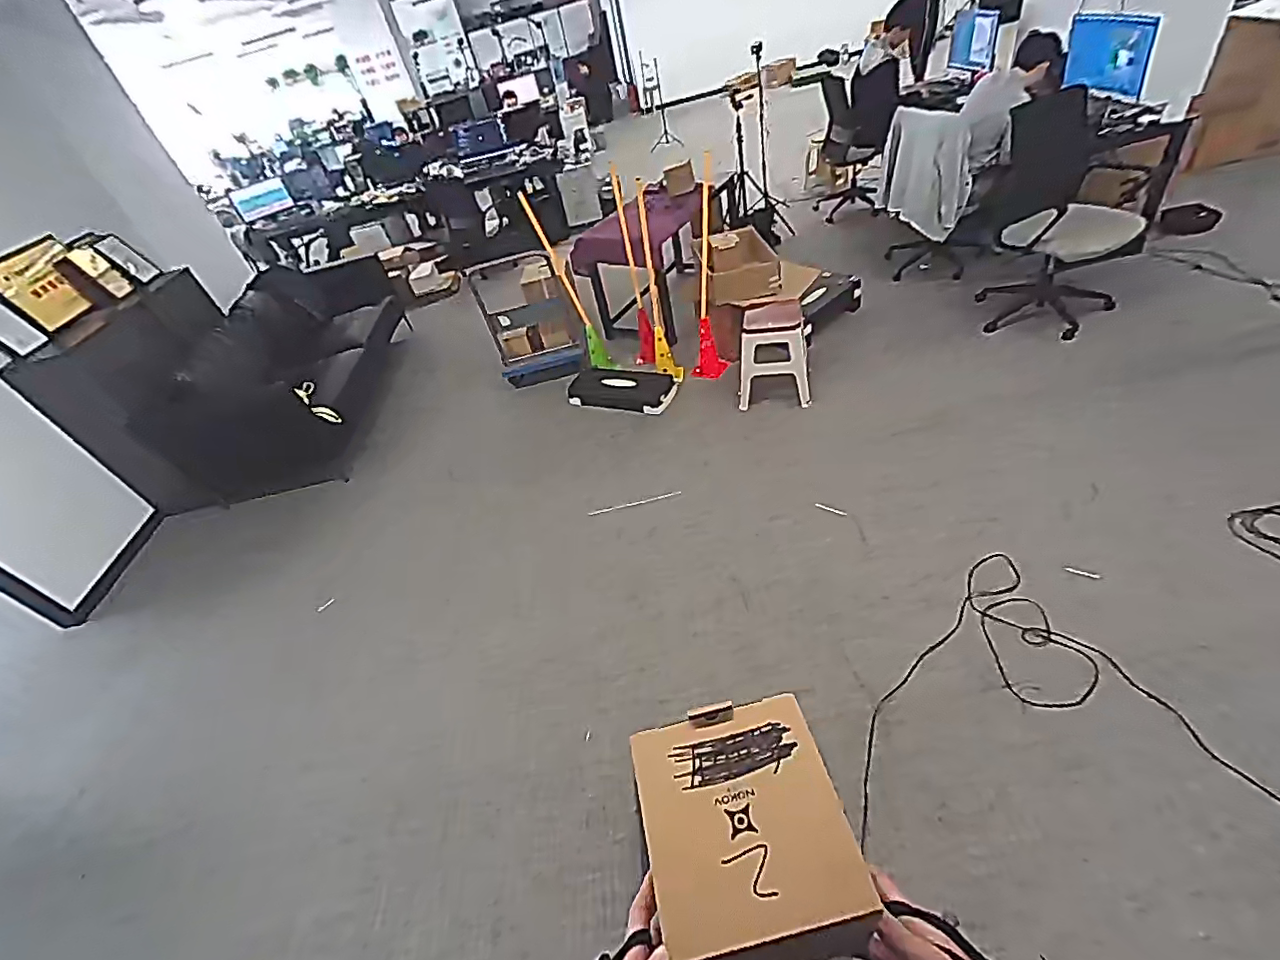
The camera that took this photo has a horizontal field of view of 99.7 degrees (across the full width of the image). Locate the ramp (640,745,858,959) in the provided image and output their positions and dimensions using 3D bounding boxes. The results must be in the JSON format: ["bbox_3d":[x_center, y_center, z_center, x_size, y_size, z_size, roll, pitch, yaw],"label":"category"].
[{"bbox_3d":[0.266,1.147,1.290,0.509,0.206,0.991,-15,41,3],"label":"ramp"}]
